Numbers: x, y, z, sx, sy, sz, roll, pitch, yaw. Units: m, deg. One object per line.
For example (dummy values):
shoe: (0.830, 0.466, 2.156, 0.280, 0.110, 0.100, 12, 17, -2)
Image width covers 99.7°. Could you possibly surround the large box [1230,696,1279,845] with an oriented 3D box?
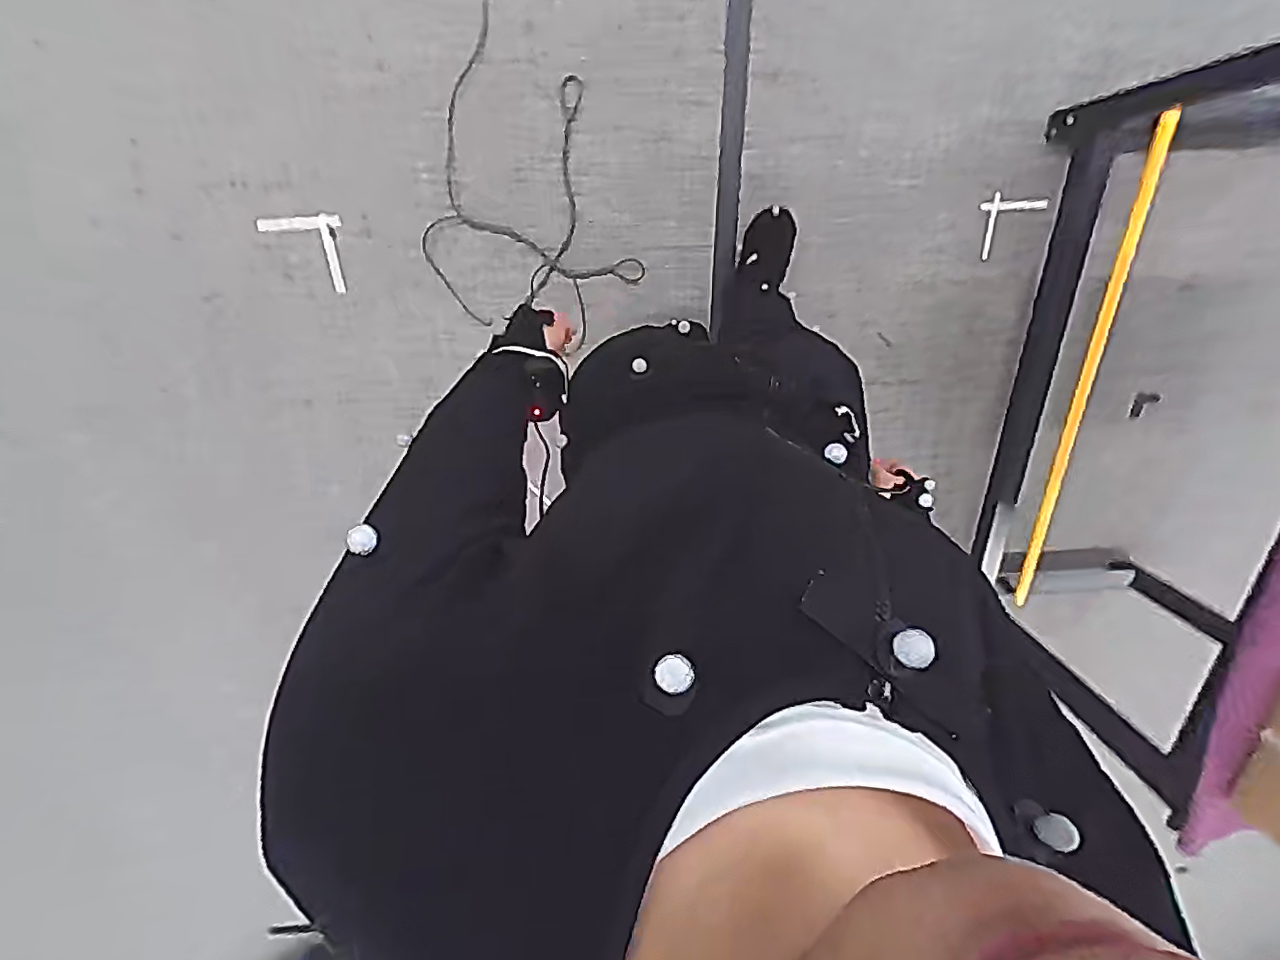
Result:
large box: (1.161, 0.429, 0.706, 0.408, 0.320, 0.320, -3, 114, -4)
